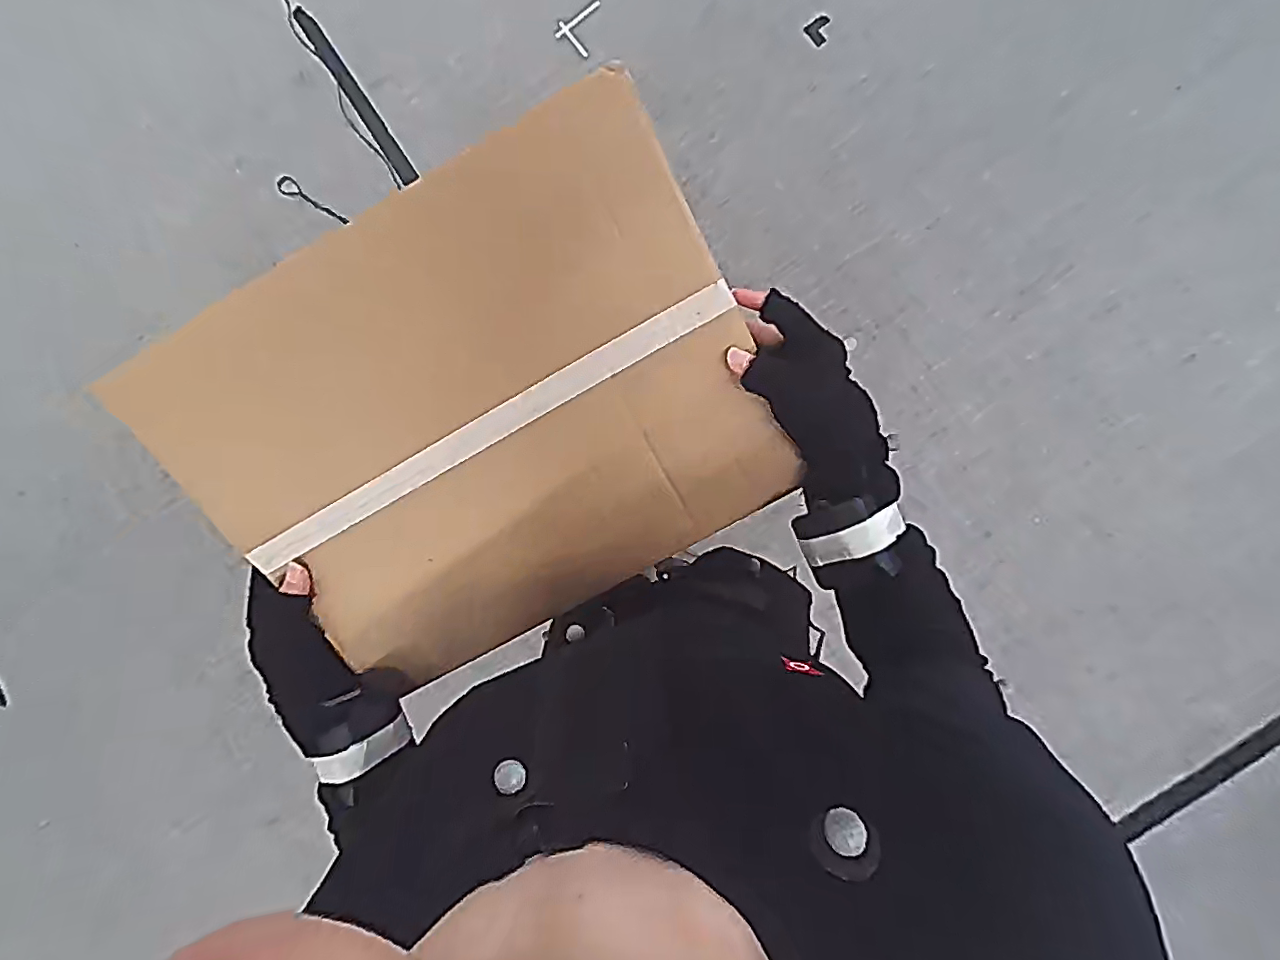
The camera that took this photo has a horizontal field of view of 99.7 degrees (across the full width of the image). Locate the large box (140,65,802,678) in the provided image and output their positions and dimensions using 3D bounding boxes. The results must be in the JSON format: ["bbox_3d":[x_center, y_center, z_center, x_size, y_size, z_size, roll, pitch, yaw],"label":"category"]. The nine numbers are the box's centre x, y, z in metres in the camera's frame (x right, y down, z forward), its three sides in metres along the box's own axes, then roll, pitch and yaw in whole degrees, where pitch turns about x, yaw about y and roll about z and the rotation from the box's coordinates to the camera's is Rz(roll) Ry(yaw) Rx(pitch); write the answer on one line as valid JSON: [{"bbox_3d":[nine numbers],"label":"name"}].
[{"bbox_3d":[-0.123,-0.089,0.547,0.408,0.320,0.320,-28,108,5],"label":"large box"}]
